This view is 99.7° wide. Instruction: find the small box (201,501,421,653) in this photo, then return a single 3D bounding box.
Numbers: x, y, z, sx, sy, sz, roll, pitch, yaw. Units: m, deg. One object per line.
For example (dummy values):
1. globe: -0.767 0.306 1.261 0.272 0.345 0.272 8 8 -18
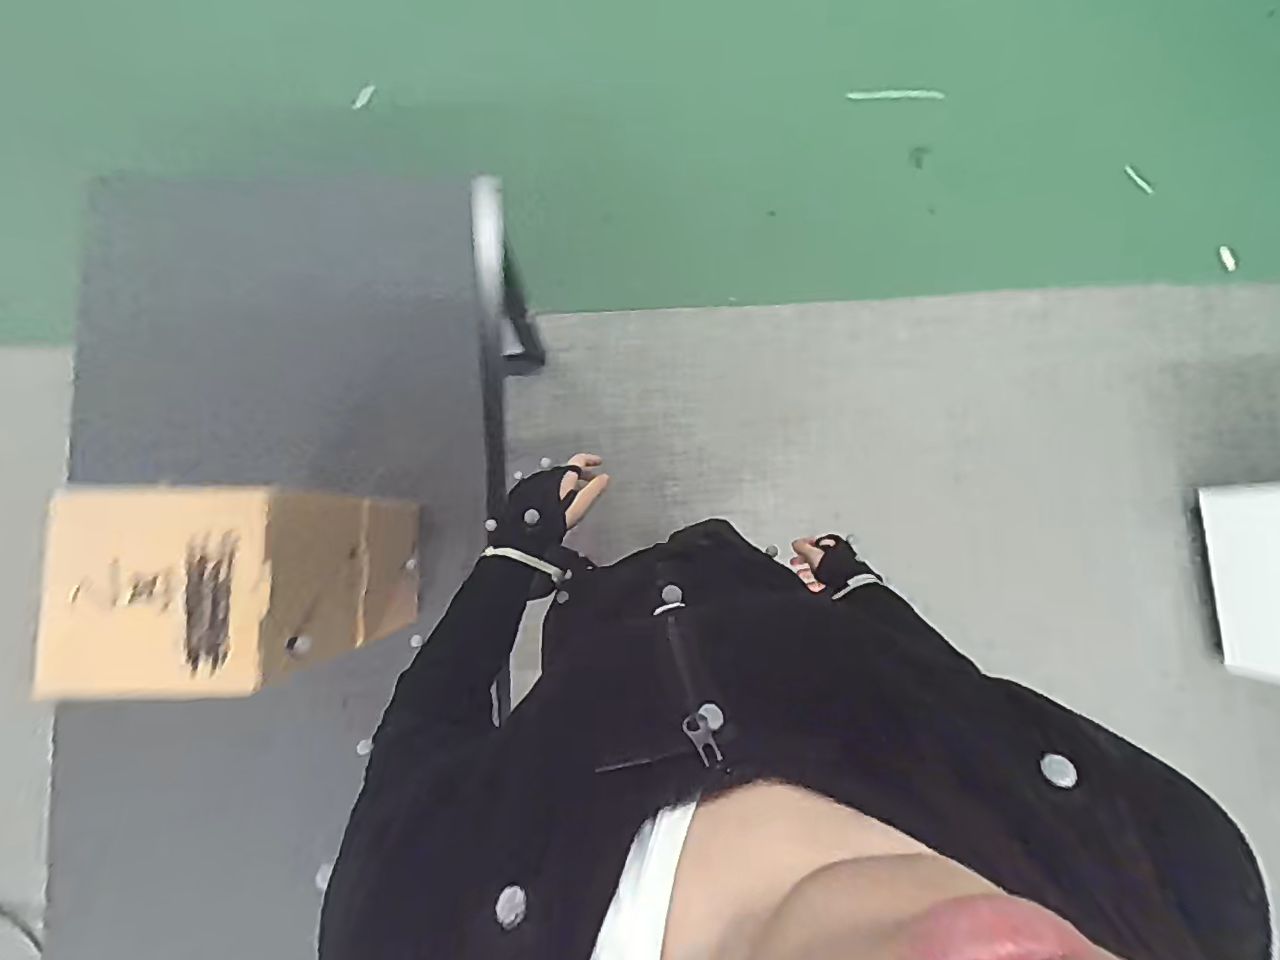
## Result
1. small box: -0.394 0.114 0.675 0.179 0.176 0.168 -1 85 -3
